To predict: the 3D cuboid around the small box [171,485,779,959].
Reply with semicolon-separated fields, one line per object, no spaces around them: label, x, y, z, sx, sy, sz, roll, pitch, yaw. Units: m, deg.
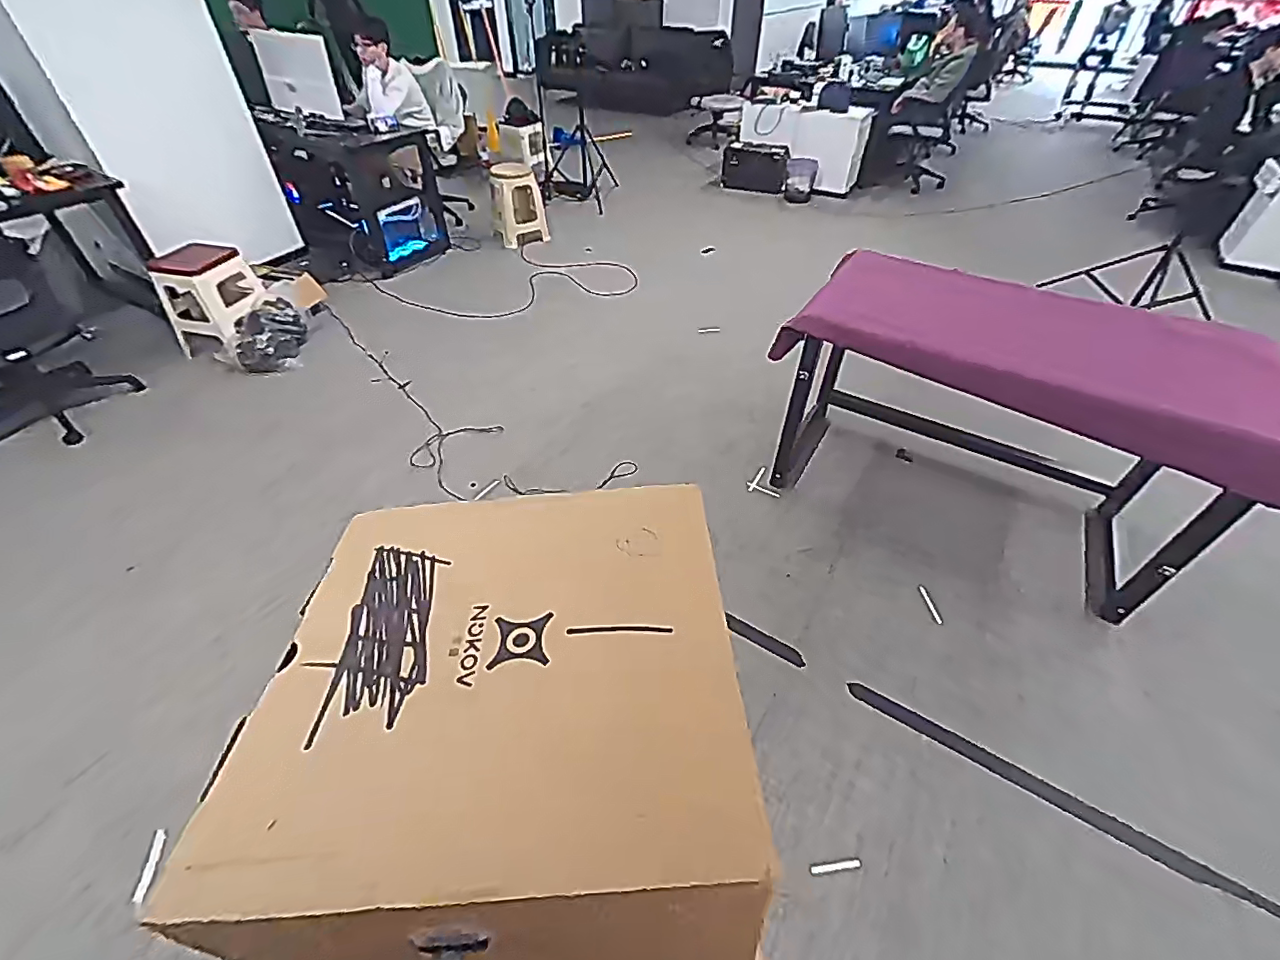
small box;-0.043;0.123;0.259;0.179;0.176;0.168;-5;40;1
